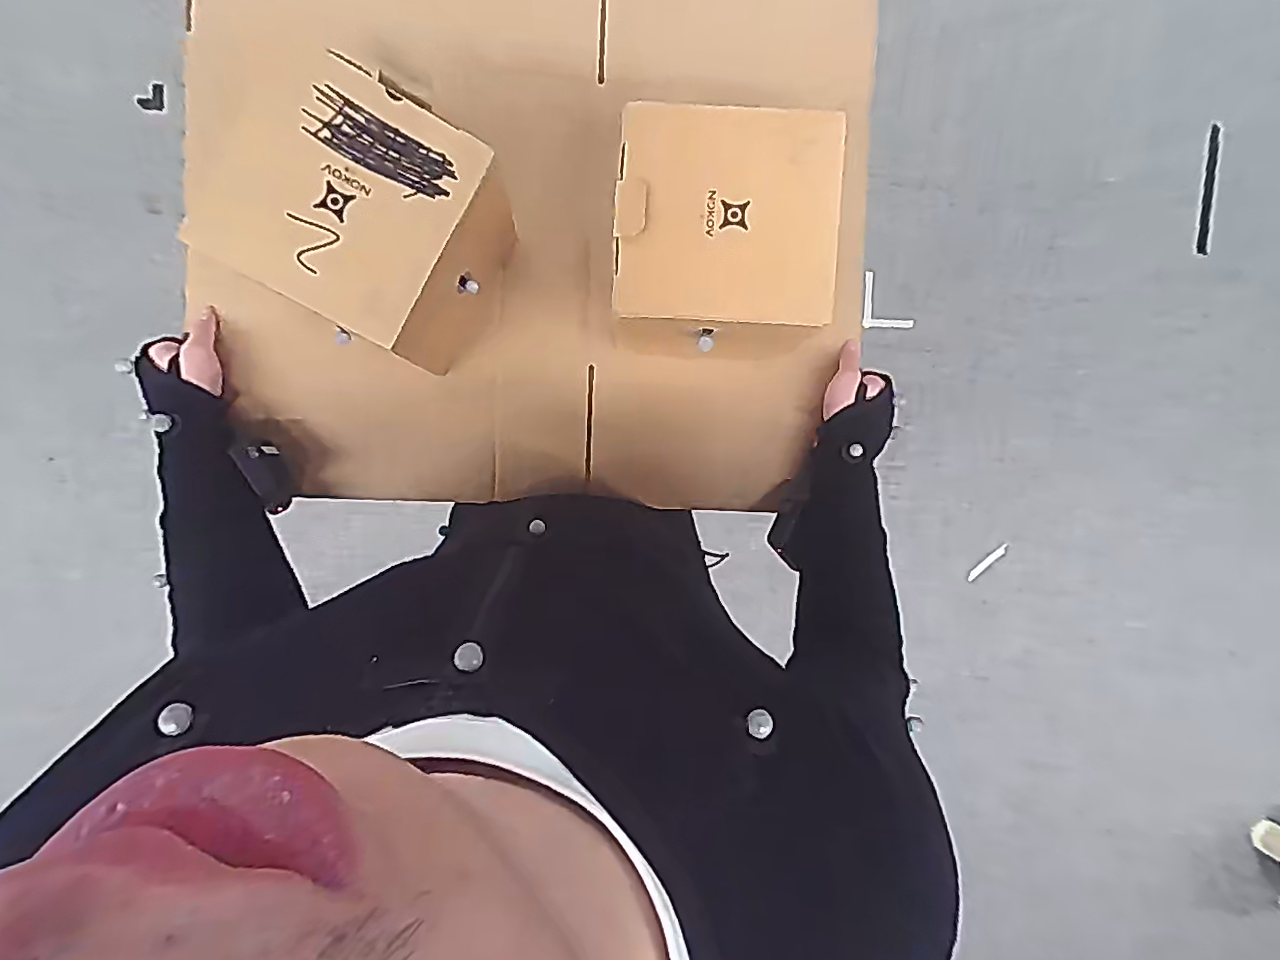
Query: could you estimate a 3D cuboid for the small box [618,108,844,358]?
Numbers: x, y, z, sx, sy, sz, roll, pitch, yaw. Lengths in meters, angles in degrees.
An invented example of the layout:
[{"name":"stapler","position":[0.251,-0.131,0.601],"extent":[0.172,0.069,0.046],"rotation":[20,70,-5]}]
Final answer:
[{"name":"small box","position":[0.074,-0.216,0.518],"extent":[0.179,0.176,0.168],"rotation":[3,92,1]}]
